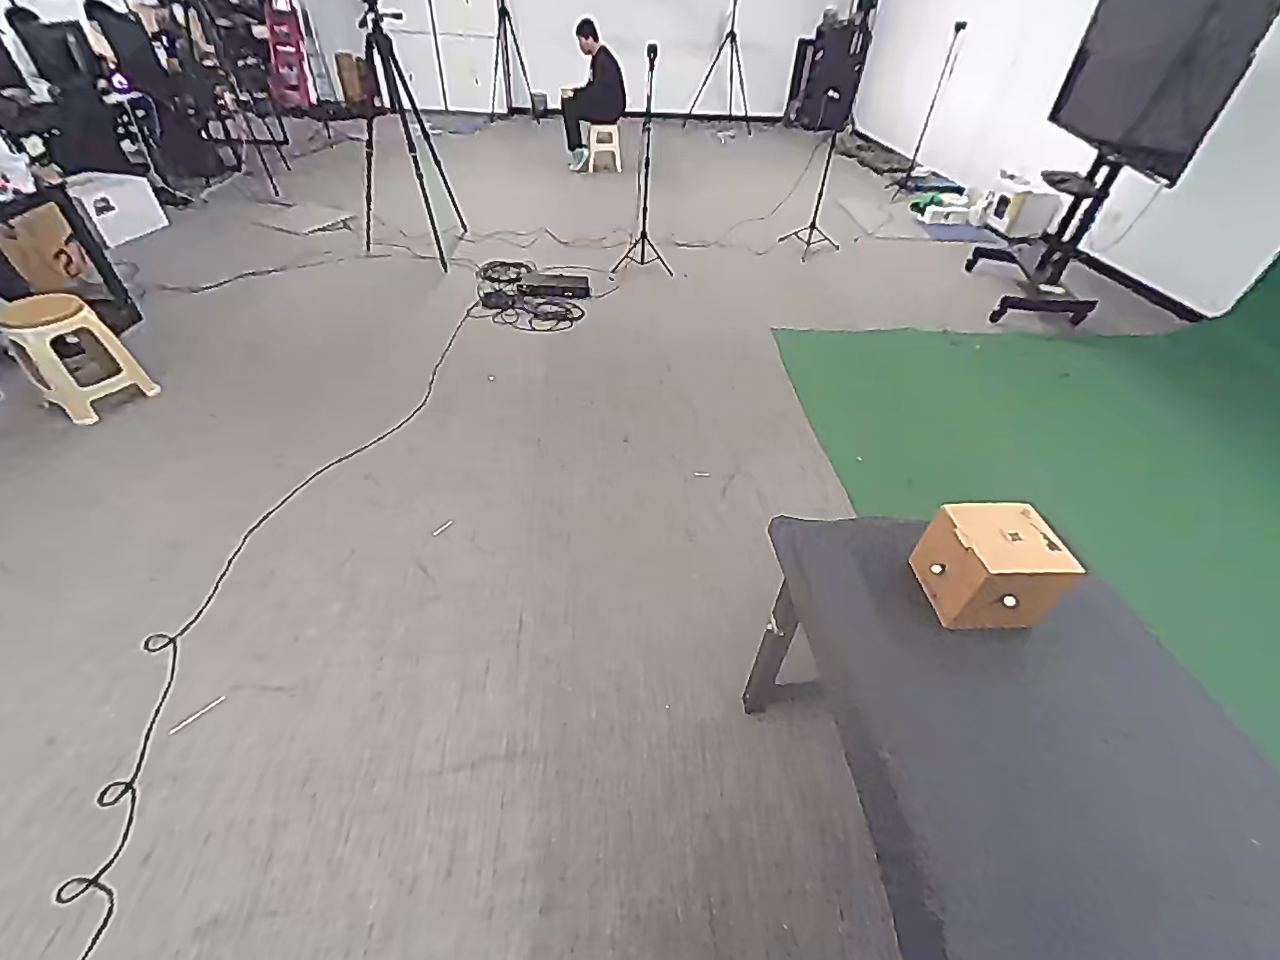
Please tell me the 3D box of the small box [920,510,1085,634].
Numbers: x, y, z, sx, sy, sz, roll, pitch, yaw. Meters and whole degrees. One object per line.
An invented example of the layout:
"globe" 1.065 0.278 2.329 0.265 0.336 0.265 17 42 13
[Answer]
"small box" 0.651 0.172 1.005 0.179 0.176 0.168 -1 43 -4
